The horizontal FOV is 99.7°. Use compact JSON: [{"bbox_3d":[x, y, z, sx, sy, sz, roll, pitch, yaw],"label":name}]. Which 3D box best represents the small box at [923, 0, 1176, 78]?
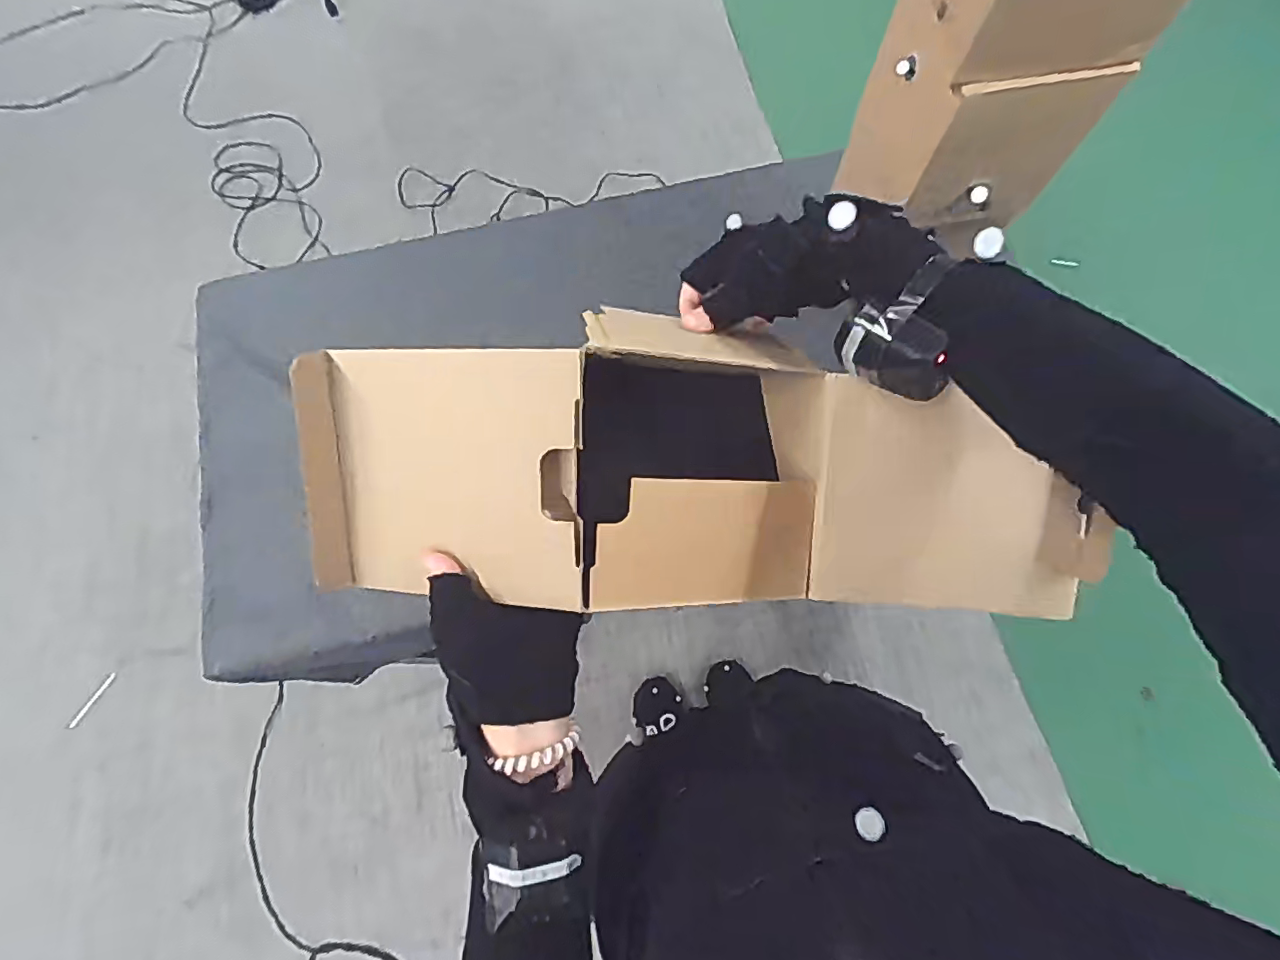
[{"bbox_3d":[0.351,-0.465,0.437,0.179,0.176,0.168,-6,72,0],"label":"small box"}]

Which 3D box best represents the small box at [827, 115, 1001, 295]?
[{"bbox_3d":[0.372,-0.375,0.751,0.179,0.176,0.168,-2,71,1],"label":"small box"}]

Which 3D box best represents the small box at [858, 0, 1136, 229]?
[{"bbox_3d":[0.361,-0.411,0.590,0.168,0.176,0.179,-8,72,0],"label":"small box"}]
